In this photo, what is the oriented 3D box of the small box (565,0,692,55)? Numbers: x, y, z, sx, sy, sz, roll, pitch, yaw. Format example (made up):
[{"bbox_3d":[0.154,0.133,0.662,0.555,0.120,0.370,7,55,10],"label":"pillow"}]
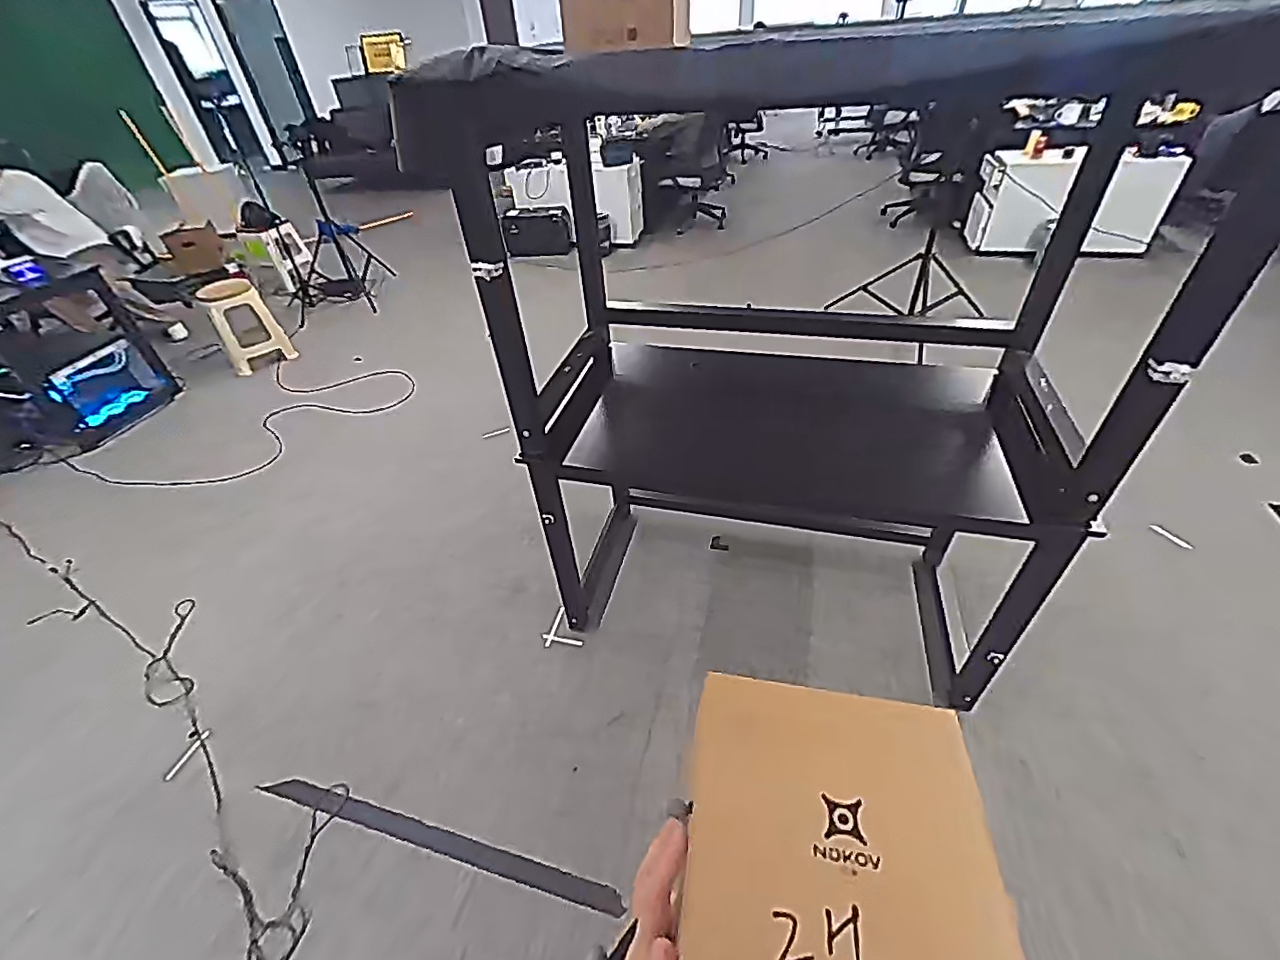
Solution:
[{"bbox_3d":[-0.014,-0.732,0.788,0.168,0.176,0.179,5,41,10],"label":"small box"}]

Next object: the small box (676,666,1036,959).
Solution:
[{"bbox_3d":[0.115,0.254,0.353,0.168,0.176,0.179,7,42,7],"label":"small box"}]
